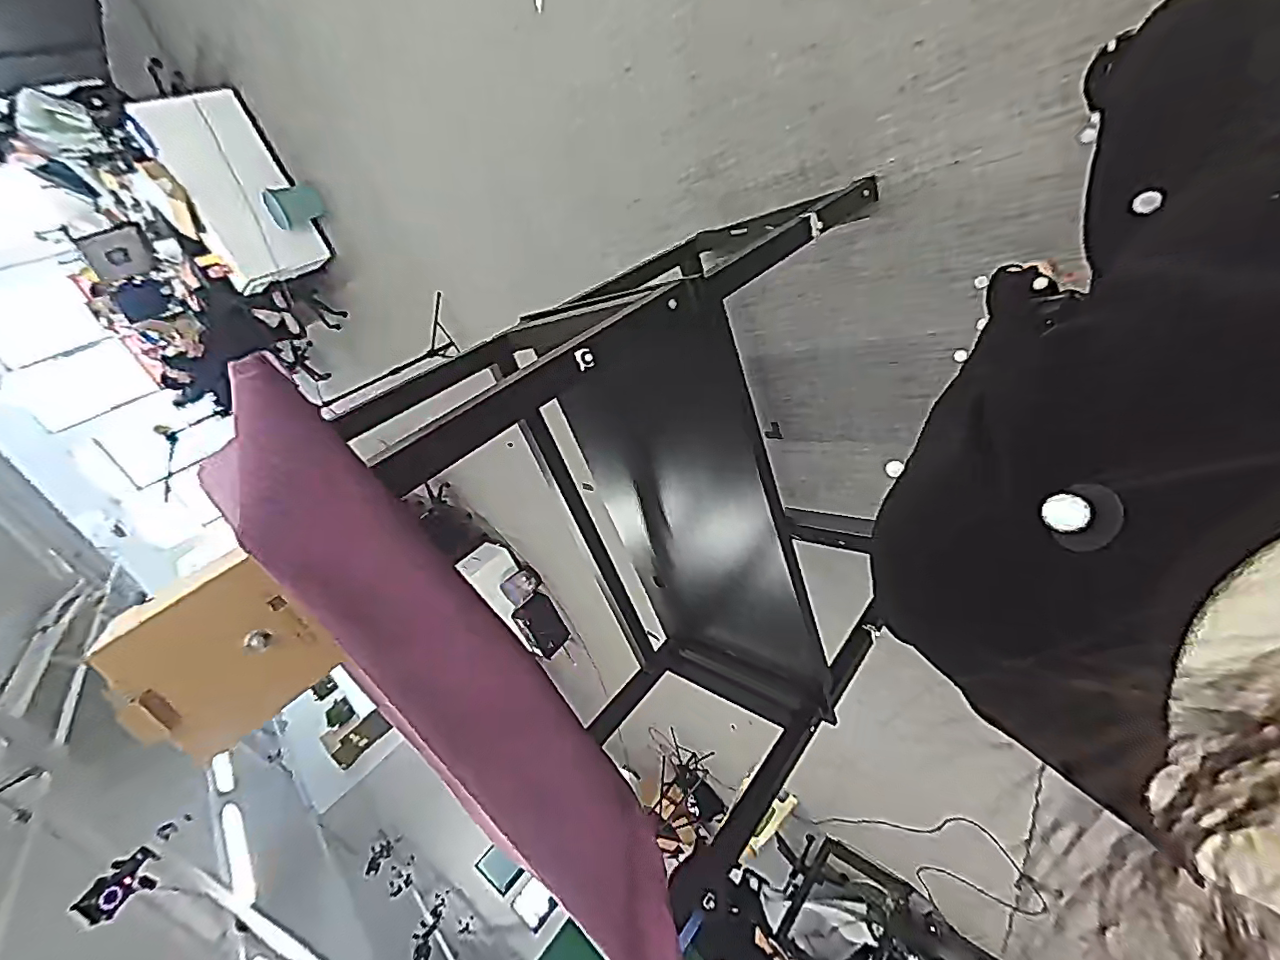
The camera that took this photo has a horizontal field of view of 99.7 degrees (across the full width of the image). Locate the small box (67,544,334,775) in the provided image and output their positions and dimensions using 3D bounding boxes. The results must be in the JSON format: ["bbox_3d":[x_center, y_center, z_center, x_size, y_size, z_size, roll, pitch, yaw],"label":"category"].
[{"bbox_3d":[-0.495,0.193,0.637,0.179,0.176,0.168,0,124,52],"label":"small box"}]
